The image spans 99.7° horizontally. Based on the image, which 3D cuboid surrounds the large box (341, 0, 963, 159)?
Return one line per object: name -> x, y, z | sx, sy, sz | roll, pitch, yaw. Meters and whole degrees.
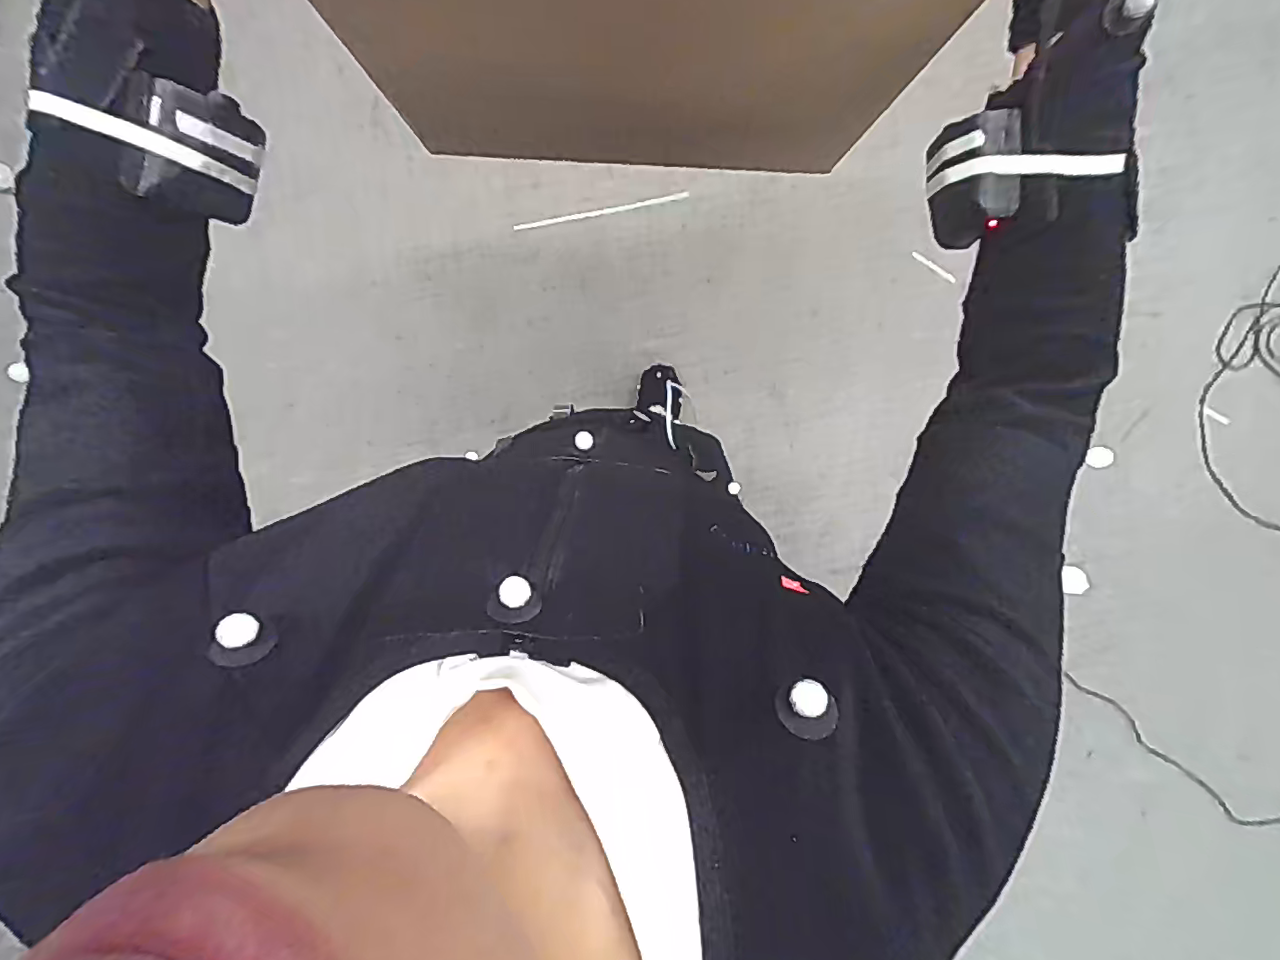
large box -> 0.004, -0.456, 0.378 | 0.408, 0.320, 0.320 | 1, 99, -3
